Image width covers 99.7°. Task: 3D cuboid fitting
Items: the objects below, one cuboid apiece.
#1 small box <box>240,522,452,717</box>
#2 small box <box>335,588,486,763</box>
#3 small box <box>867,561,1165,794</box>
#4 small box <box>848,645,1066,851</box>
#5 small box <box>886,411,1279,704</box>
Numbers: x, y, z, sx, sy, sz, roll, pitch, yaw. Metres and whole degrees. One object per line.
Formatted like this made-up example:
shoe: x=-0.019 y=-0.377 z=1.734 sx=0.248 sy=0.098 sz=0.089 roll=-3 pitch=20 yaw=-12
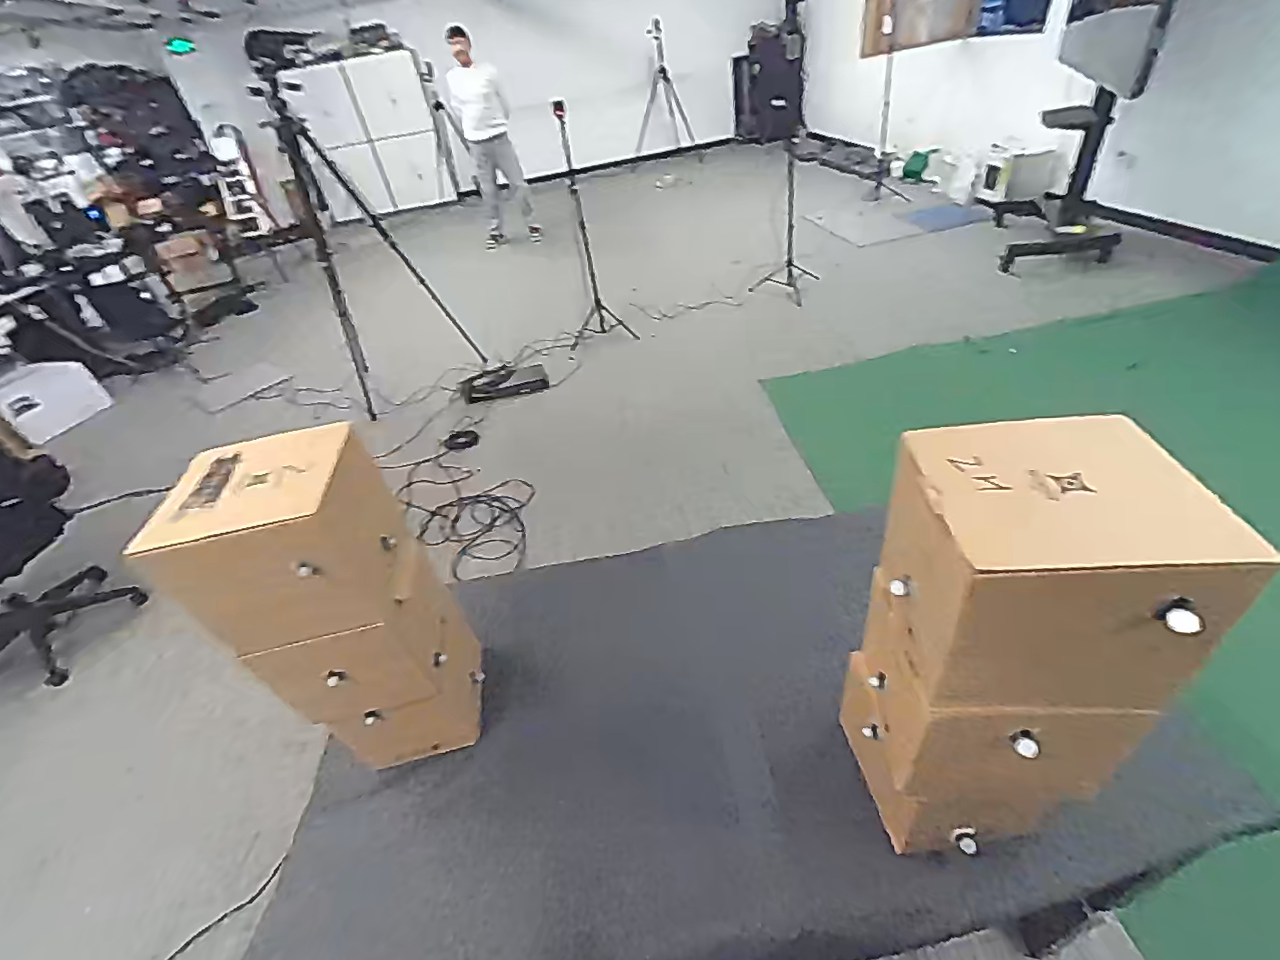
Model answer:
small box: x=-0.367 y=0.186 z=0.720 sx=0.179 sy=0.176 sz=0.168 roll=-13 pitch=40 yaw=-2
small box: x=-0.346 y=0.301 z=0.837 sx=0.168 sy=0.176 sz=0.179 roll=-13 pitch=40 yaw=-3
small box: x=0.342 y=0.193 z=0.541 sx=0.179 sy=0.176 sz=0.168 roll=-5 pitch=38 yaw=10
small box: x=0.366 y=0.309 z=0.653 sx=0.168 sy=0.176 sz=0.179 roll=-12 pitch=39 yaw=1
small box: x=0.318 y=0.064 z=0.441 sx=0.179 sy=0.176 sz=0.168 roll=-4 pitch=38 yaw=11
